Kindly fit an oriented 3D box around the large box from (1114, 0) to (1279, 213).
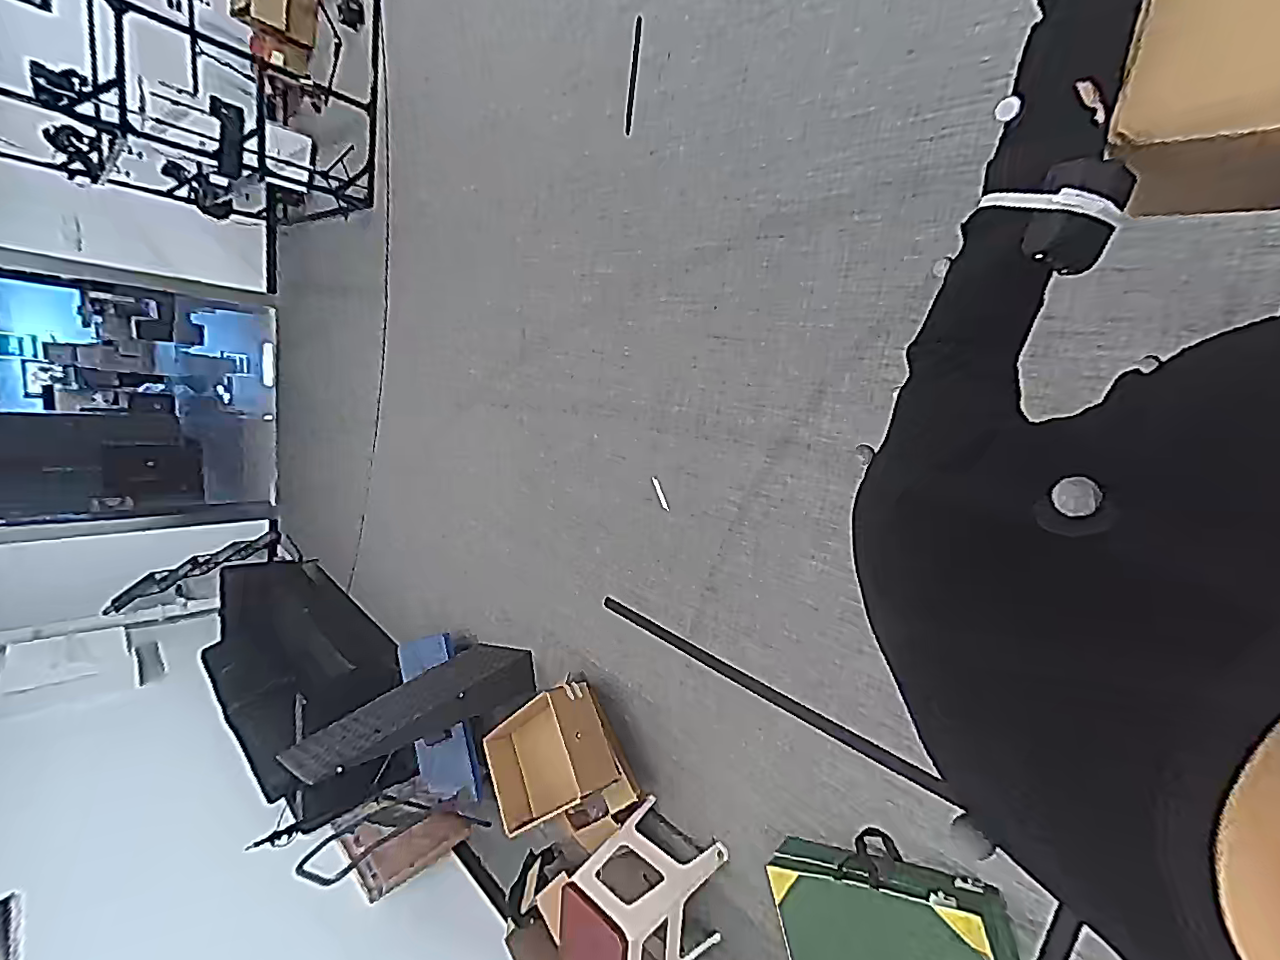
[{"bbox_3d":[0.590,-0.369,0.325,0.408,0.320,0.320,18,114,40],"label":"large box"}]
